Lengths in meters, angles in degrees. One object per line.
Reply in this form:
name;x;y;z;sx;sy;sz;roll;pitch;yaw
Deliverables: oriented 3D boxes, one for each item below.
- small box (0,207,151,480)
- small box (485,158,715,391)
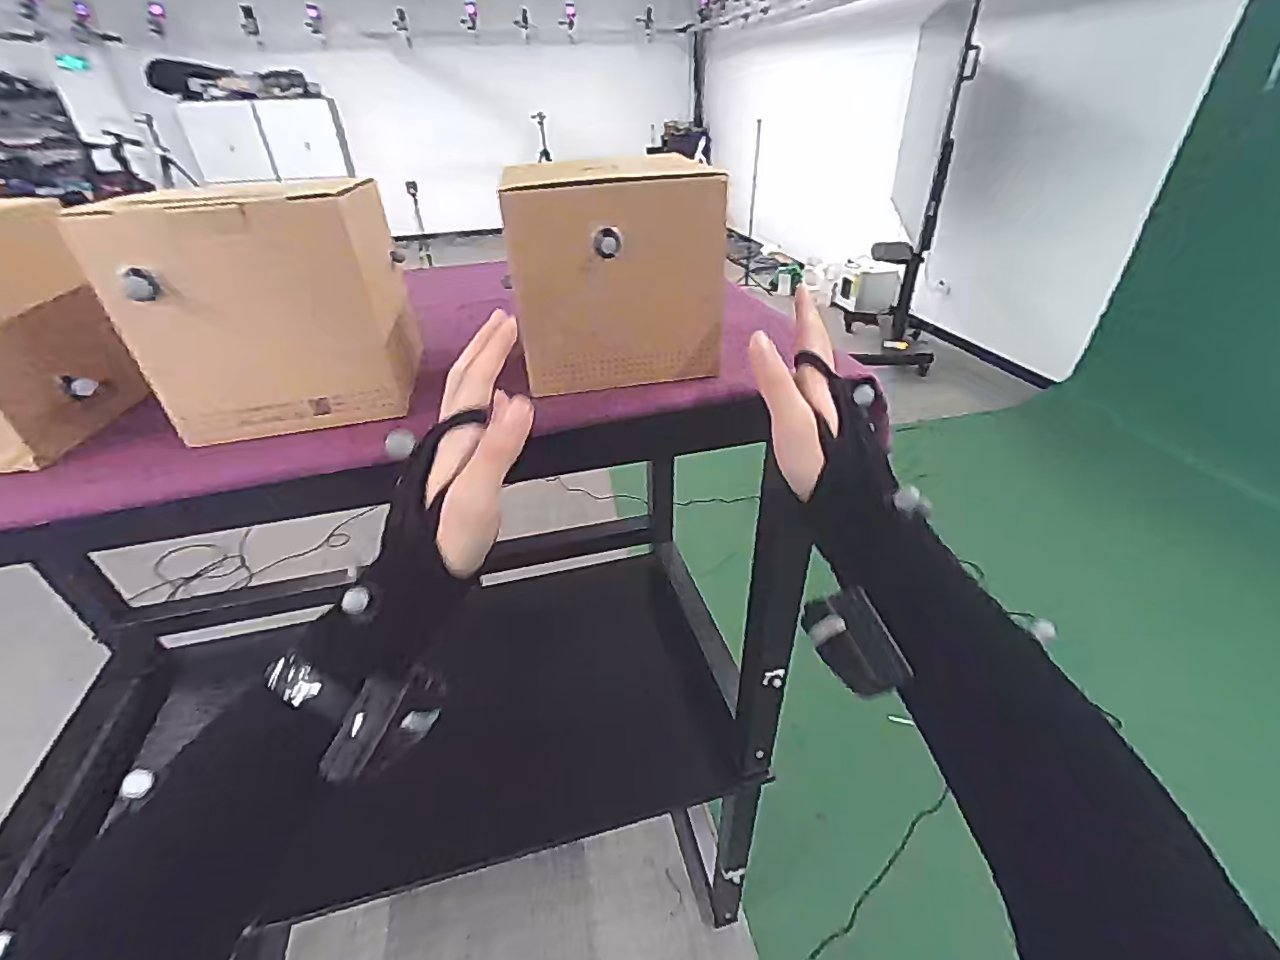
small box;-0.543;-0.100;0.407;0.179;0.176;0.168;-8;34;-8
small box;-0.035;-0.193;0.506;0.179;0.176;0.168;-8;36;-7
